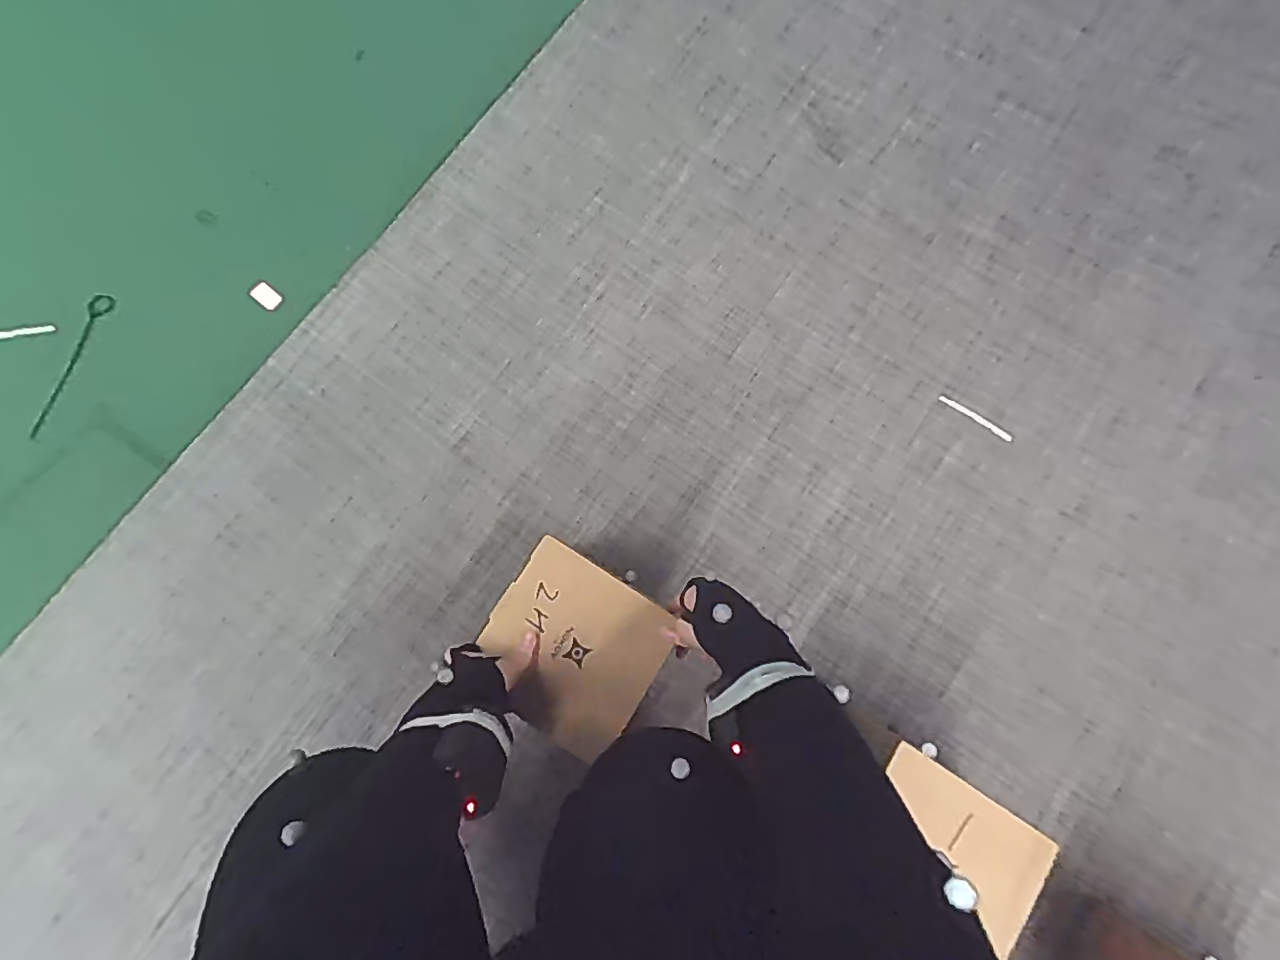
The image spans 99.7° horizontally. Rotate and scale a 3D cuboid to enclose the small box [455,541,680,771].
[{"bbox_3d":[-0.071,0.189,0.628,0.179,0.176,0.168,33,81,7],"label":"small box"}]
